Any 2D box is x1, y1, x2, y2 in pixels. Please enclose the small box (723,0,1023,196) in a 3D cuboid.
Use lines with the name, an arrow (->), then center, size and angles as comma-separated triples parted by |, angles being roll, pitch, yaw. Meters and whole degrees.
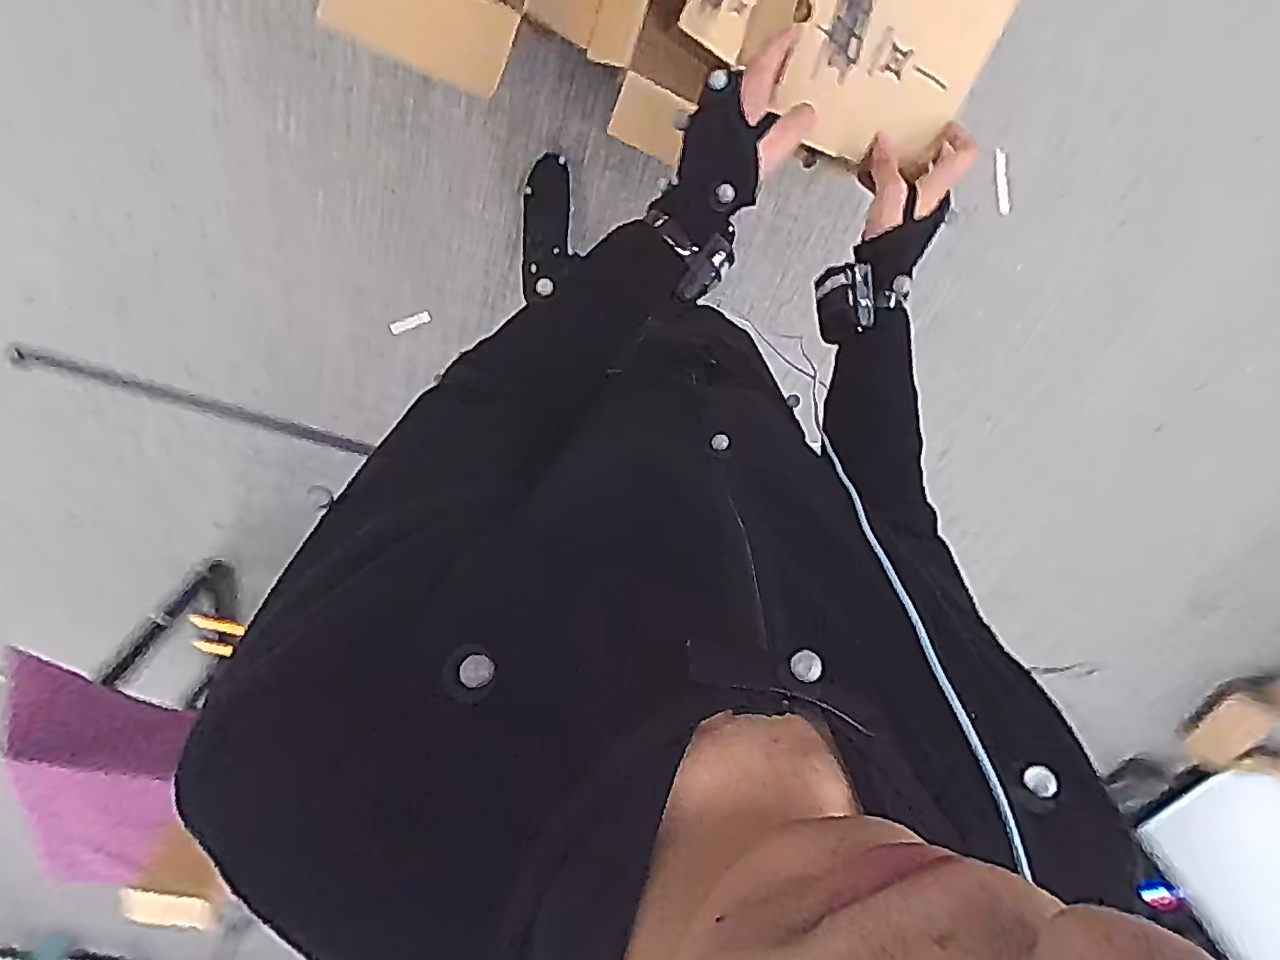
small box -> 0.202, -0.400, 0.527 | 0.179, 0.176, 0.168 | 11, 121, -18

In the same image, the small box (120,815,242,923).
small box -> -1.165, 0.987, 1.379 | 0.179, 0.176, 0.168 | 19, 119, -15
